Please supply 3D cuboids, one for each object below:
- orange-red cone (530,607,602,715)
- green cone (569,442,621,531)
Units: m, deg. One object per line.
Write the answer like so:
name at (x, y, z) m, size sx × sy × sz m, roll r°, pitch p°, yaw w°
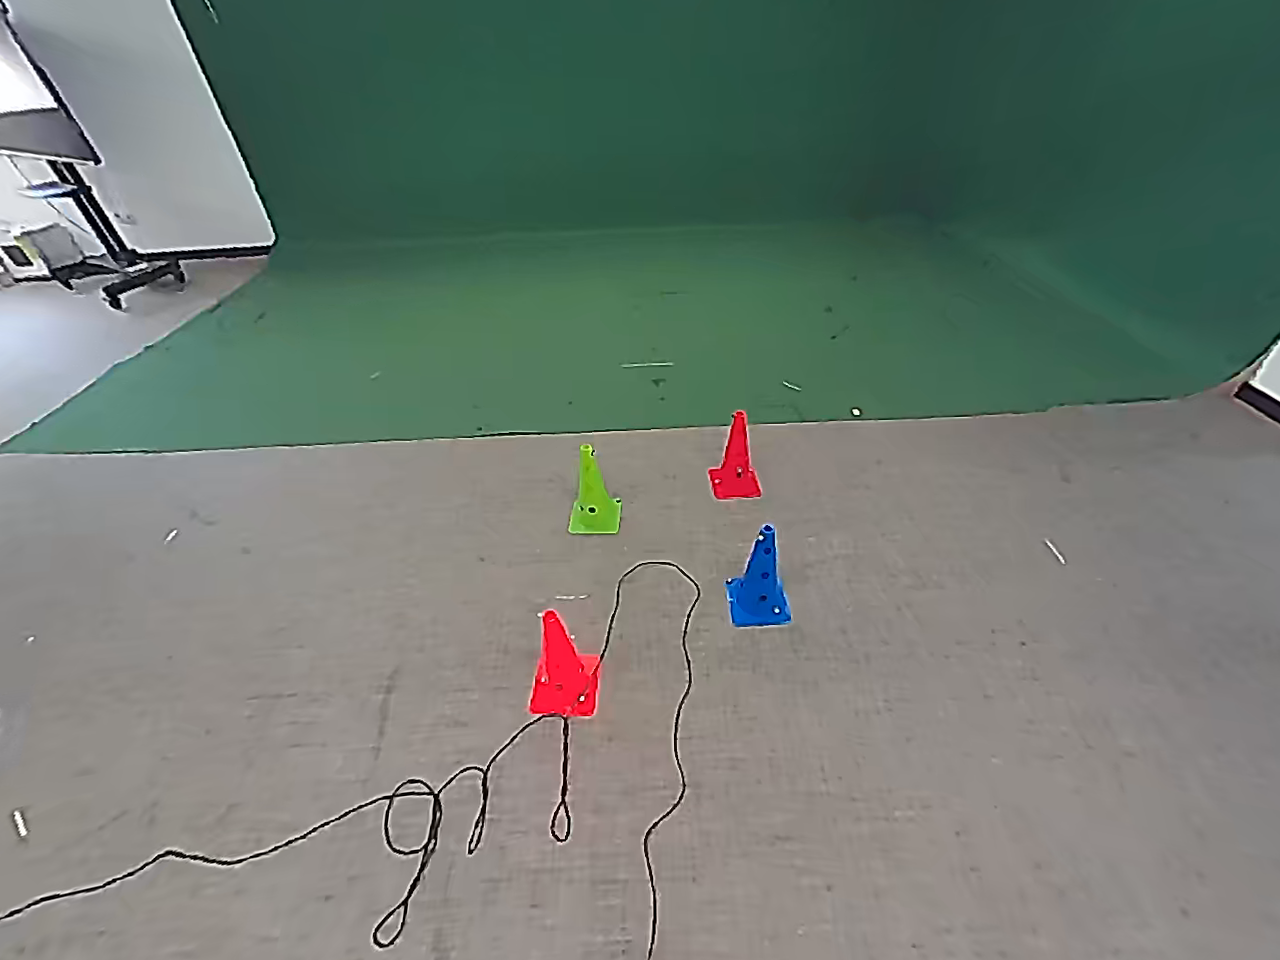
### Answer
orange-red cone at (-0.229, 0.484, 1.540) m, size 0.198 × 0.360 × 0.199 m, roll 1°, pitch 39°, yaw 4°
green cone at (-0.191, 0.005, 2.092) m, size 0.200 × 0.368 × 0.202 m, roll -1°, pitch 42°, yaw 3°
